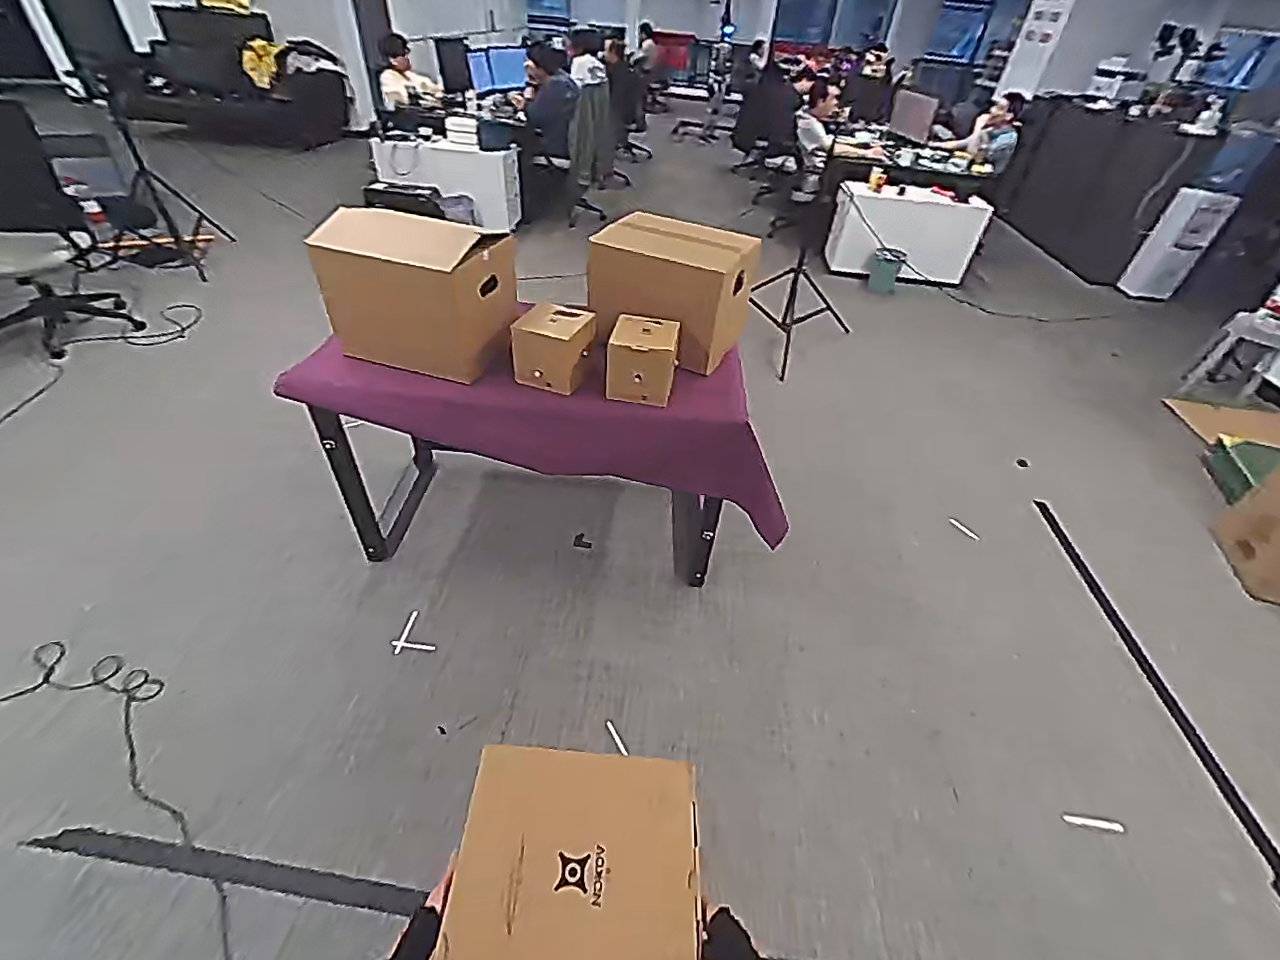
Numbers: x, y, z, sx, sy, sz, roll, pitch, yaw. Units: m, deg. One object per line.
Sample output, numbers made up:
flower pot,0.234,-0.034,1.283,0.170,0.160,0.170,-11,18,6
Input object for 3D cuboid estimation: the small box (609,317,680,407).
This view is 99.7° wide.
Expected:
small box,0.010,-0.315,1.455,0.168,0.176,0.179,9,41,3
